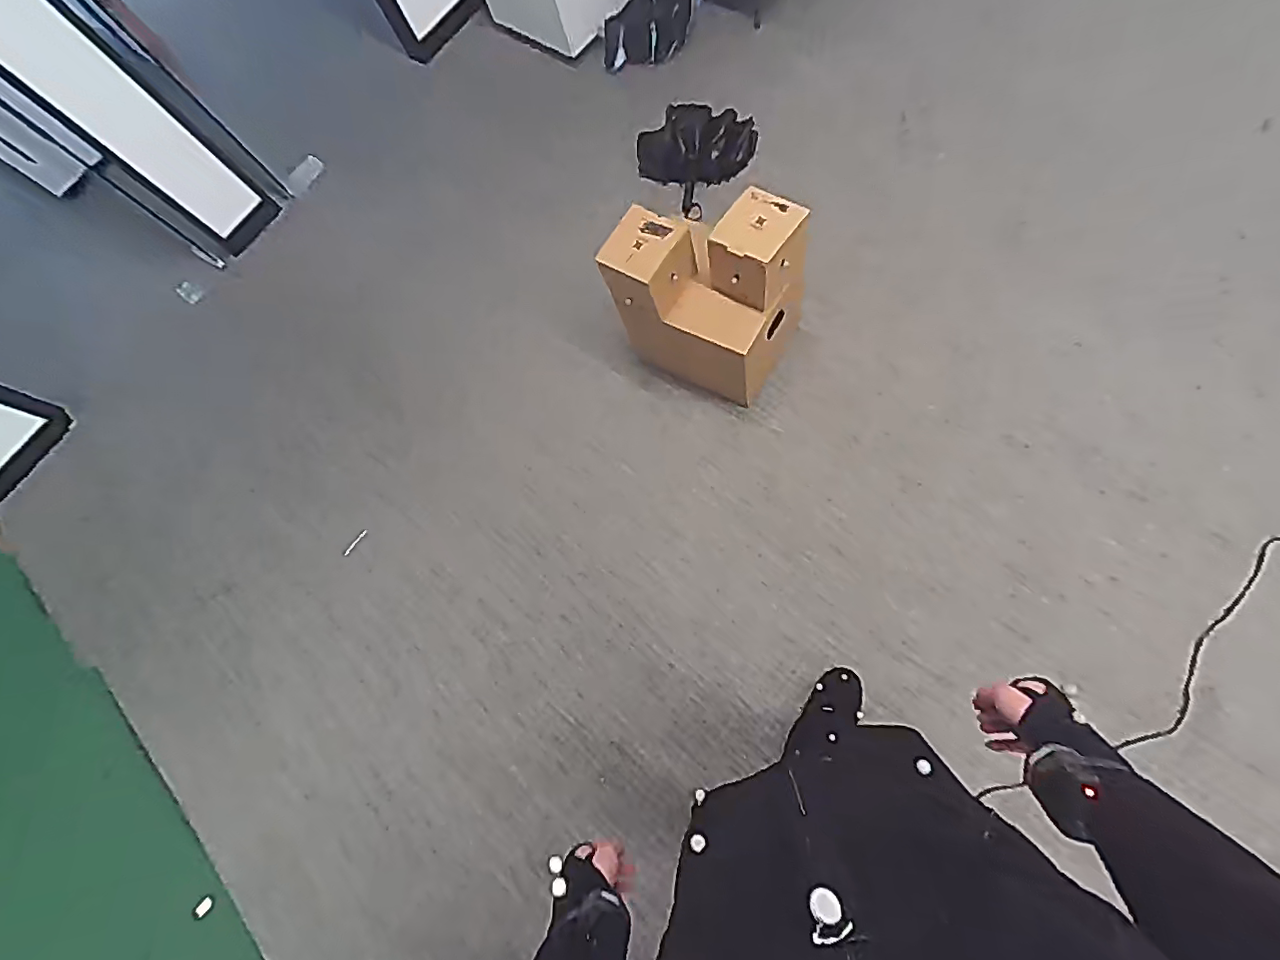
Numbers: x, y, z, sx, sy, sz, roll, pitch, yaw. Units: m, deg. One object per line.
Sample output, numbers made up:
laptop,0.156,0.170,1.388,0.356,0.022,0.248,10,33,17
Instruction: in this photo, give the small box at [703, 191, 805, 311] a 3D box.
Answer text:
small box,0.275,-0.545,1.304,0.168,0.176,0.179,35,80,20

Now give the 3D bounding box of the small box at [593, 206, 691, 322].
small box,0.013,-0.535,1.356,0.168,0.176,0.179,33,83,20
